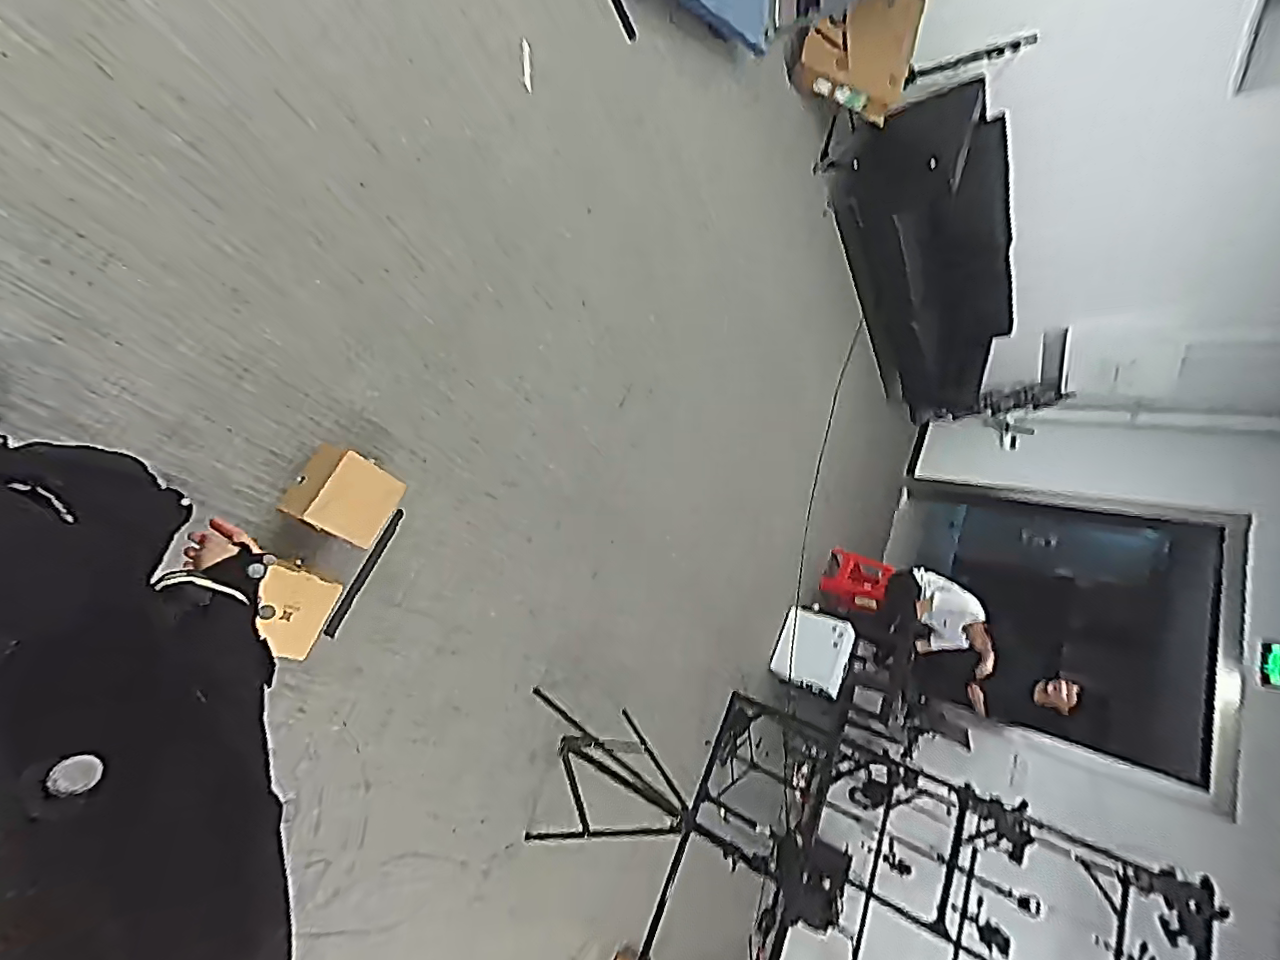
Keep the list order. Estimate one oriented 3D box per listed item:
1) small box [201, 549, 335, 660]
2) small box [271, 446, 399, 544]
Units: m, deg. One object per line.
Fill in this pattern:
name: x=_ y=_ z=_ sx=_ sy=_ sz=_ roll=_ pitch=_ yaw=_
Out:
small box: x=-0.821 y=0.271 z=1.188 sx=0.168 sy=0.176 sz=0.179 roll=40 pitch=65 yaw=-47
small box: x=-0.711 y=0.038 z=1.271 sx=0.168 sy=0.176 sz=0.179 roll=47 pitch=62 yaw=-45
